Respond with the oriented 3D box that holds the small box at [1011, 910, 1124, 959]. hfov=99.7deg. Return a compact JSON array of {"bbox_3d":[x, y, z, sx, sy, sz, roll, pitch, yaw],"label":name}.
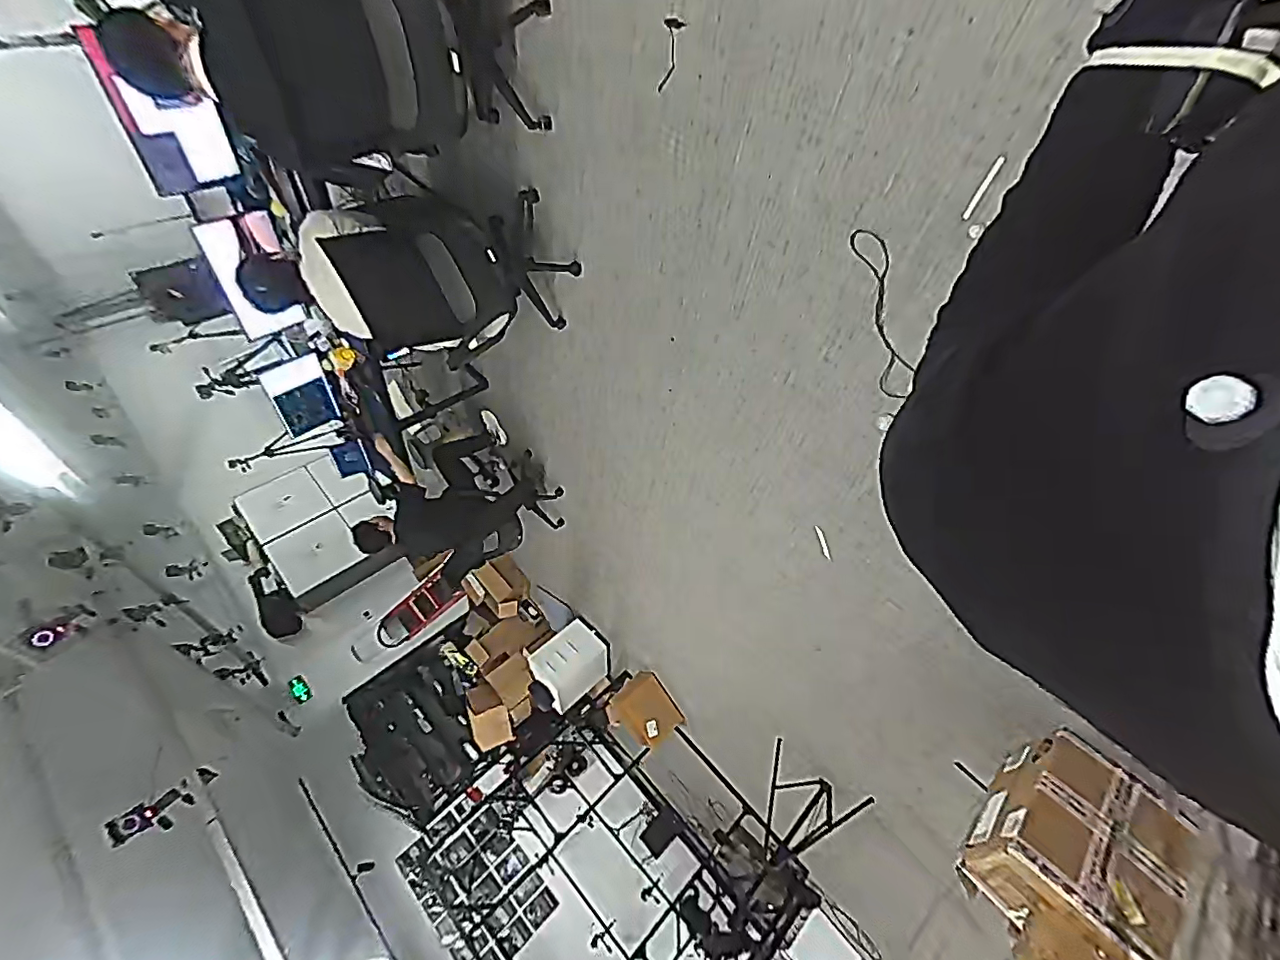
[{"bbox_3d":[1.170,1.327,1.479,0.168,0.176,0.179,39,141,24],"label":"small box"}]
